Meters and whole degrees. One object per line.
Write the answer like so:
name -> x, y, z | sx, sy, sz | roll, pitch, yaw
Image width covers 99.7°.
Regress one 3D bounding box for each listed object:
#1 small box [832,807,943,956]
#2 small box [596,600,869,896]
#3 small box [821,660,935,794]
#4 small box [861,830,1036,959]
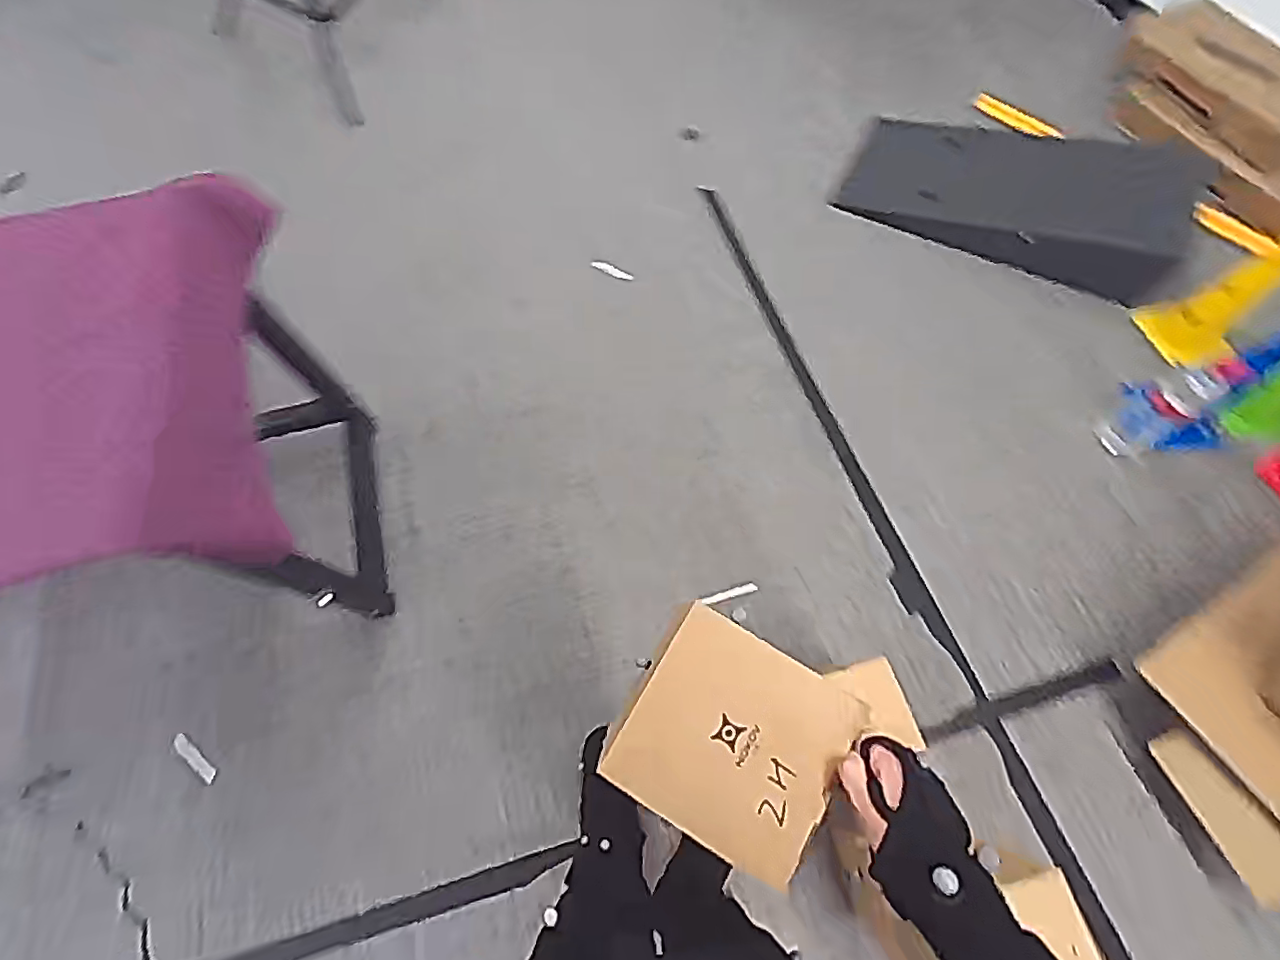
small box -> 0.492, 0.756, 1.035 | 0.168, 0.176, 0.179 | -11, 69, -3
small box -> 0.077, 0.235, 0.522 | 0.179, 0.176, 0.168 | 30, 78, 6
small box -> 0.389, 0.445, 0.991 | 0.168, 0.176, 0.179 | -16, 69, -5
small box -> 0.484, 0.697, 0.881 | 0.179, 0.176, 0.168 | -12, 68, -5
